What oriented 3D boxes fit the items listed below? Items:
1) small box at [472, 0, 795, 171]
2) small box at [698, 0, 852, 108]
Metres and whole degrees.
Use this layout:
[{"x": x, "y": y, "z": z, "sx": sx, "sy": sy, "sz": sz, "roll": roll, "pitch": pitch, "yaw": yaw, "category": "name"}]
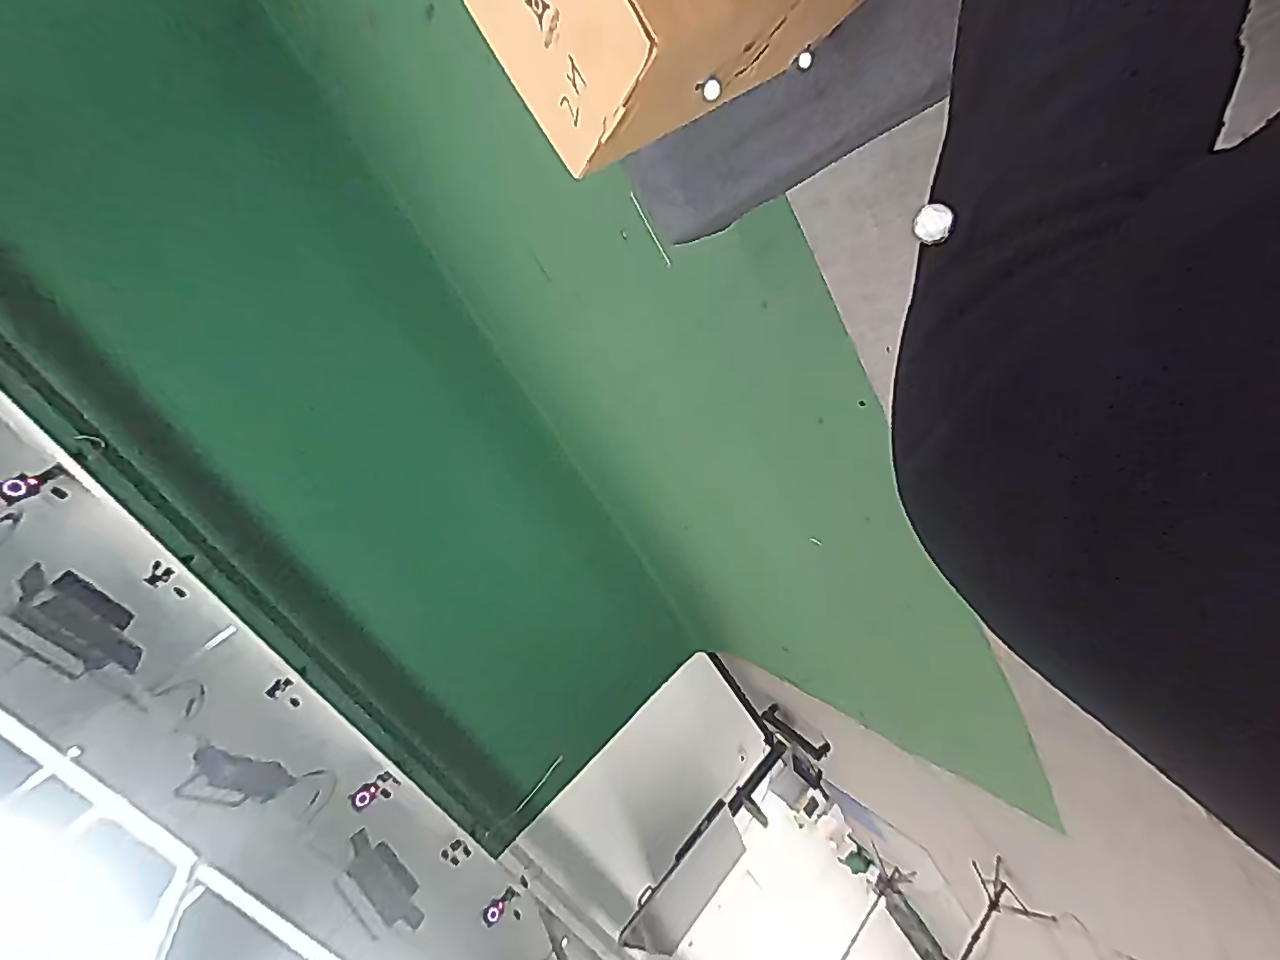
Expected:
[{"x": -0.009, "y": -0.399, "z": 0.431, "sx": 0.179, "sy": 0.176, "sz": 0.168, "roll": 55, "pitch": 159, "yaw": -14, "category": "small box"}, {"x": 0.110, "y": -0.496, "z": 0.489, "sx": 0.179, "sy": 0.176, "sz": 0.168, "roll": 57, "pitch": 158, "yaw": -15, "category": "small box"}]
